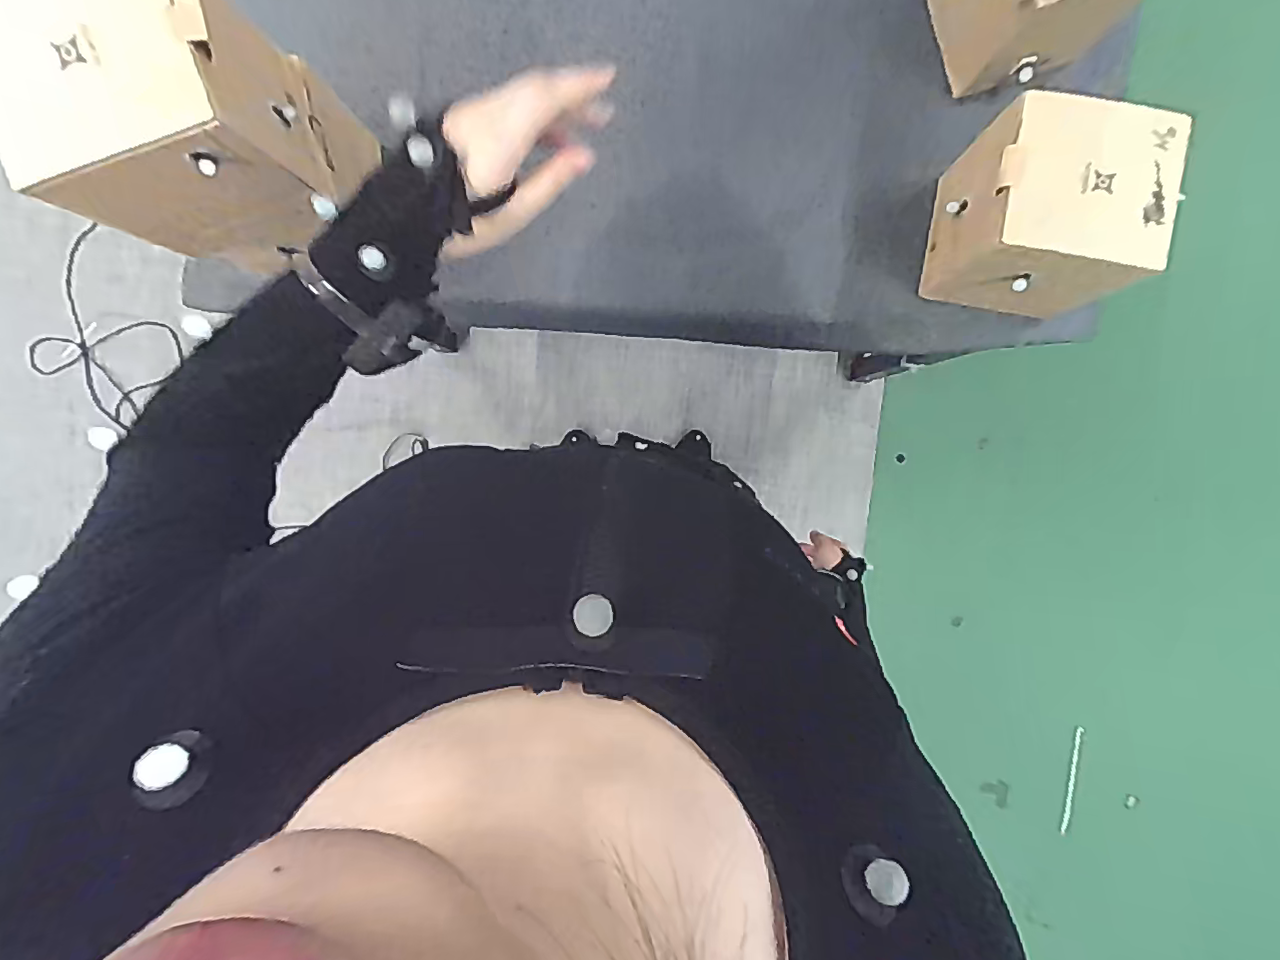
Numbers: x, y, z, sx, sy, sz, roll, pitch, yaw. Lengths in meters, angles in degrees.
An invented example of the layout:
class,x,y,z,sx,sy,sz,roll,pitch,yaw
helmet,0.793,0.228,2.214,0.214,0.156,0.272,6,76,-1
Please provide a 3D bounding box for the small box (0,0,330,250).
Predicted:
class,x,y,z,sx,sy,sz,roll,pitch,yaw
small box,-0.431,-0.336,0.491,0.179,0.176,0.168,-19,95,2

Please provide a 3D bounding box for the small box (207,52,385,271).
class,x,y,z,sx,sy,sz,roll,pitch,yaw
small box,-0.430,-0.365,0.651,0.179,0.176,0.168,-6,95,2

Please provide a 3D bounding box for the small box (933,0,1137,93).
class,x,y,z,sx,sy,sz,roll,pitch,yaw
small box,0.460,-0.599,0.616,0.168,0.176,0.179,-17,96,5

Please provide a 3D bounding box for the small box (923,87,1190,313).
class,x,y,z,sx,sy,sz,roll,pitch,yaw
small box,0.465,-0.310,0.634,0.179,0.176,0.168,10,91,1
